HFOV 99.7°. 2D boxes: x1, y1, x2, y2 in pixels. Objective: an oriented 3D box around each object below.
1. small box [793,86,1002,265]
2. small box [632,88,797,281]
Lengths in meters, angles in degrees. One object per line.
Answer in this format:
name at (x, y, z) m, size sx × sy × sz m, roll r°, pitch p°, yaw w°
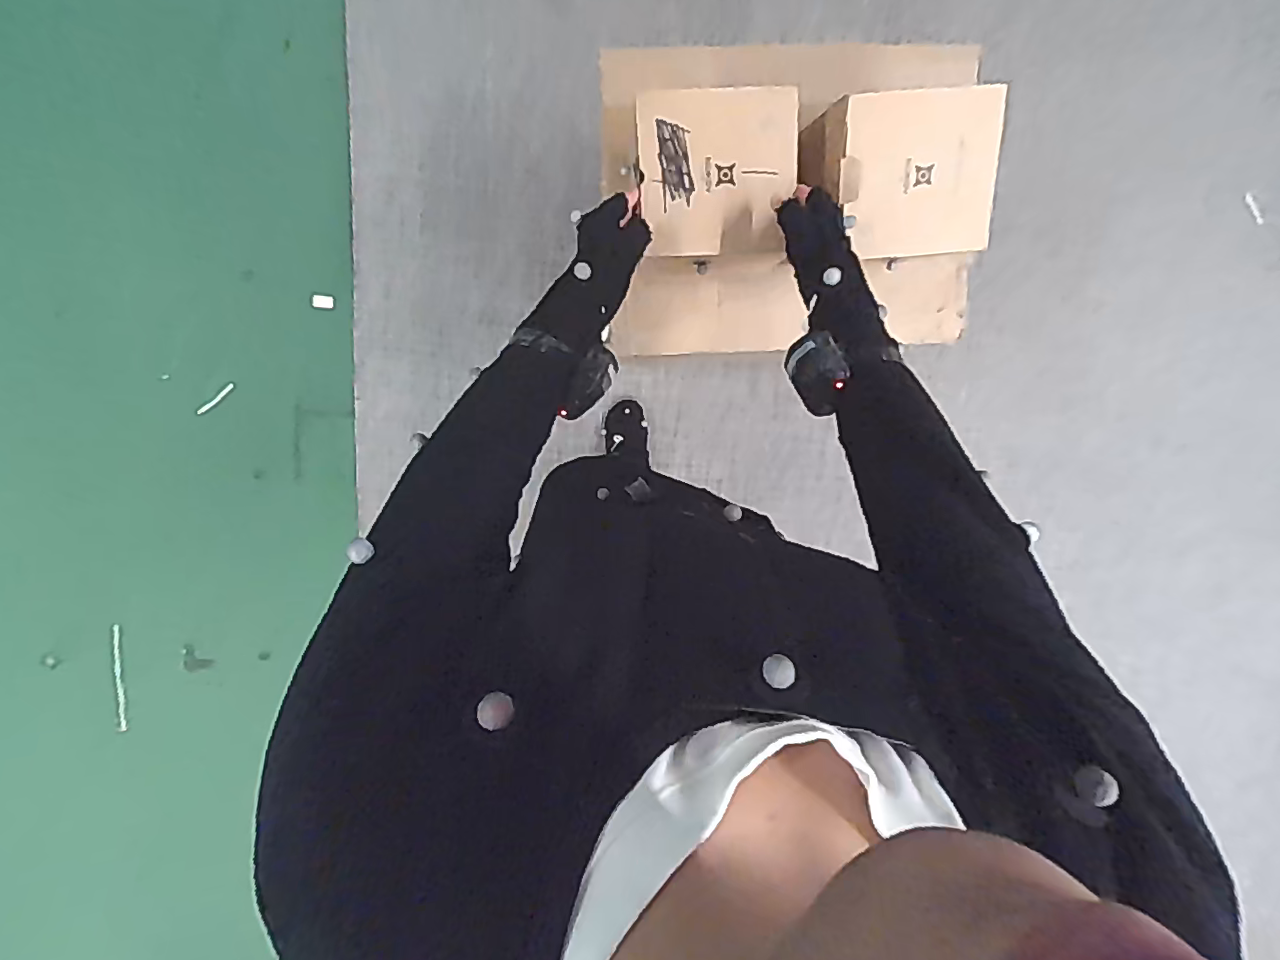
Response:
small box at (0.301, -0.364, 0.676) m, size 0.179 × 0.176 × 0.168 m, roll -6°, pitch 111°, yaw -3°
small box at (0.079, -0.344, 0.661) m, size 0.179 × 0.176 × 0.168 m, roll -3°, pitch 101°, yaw -2°
